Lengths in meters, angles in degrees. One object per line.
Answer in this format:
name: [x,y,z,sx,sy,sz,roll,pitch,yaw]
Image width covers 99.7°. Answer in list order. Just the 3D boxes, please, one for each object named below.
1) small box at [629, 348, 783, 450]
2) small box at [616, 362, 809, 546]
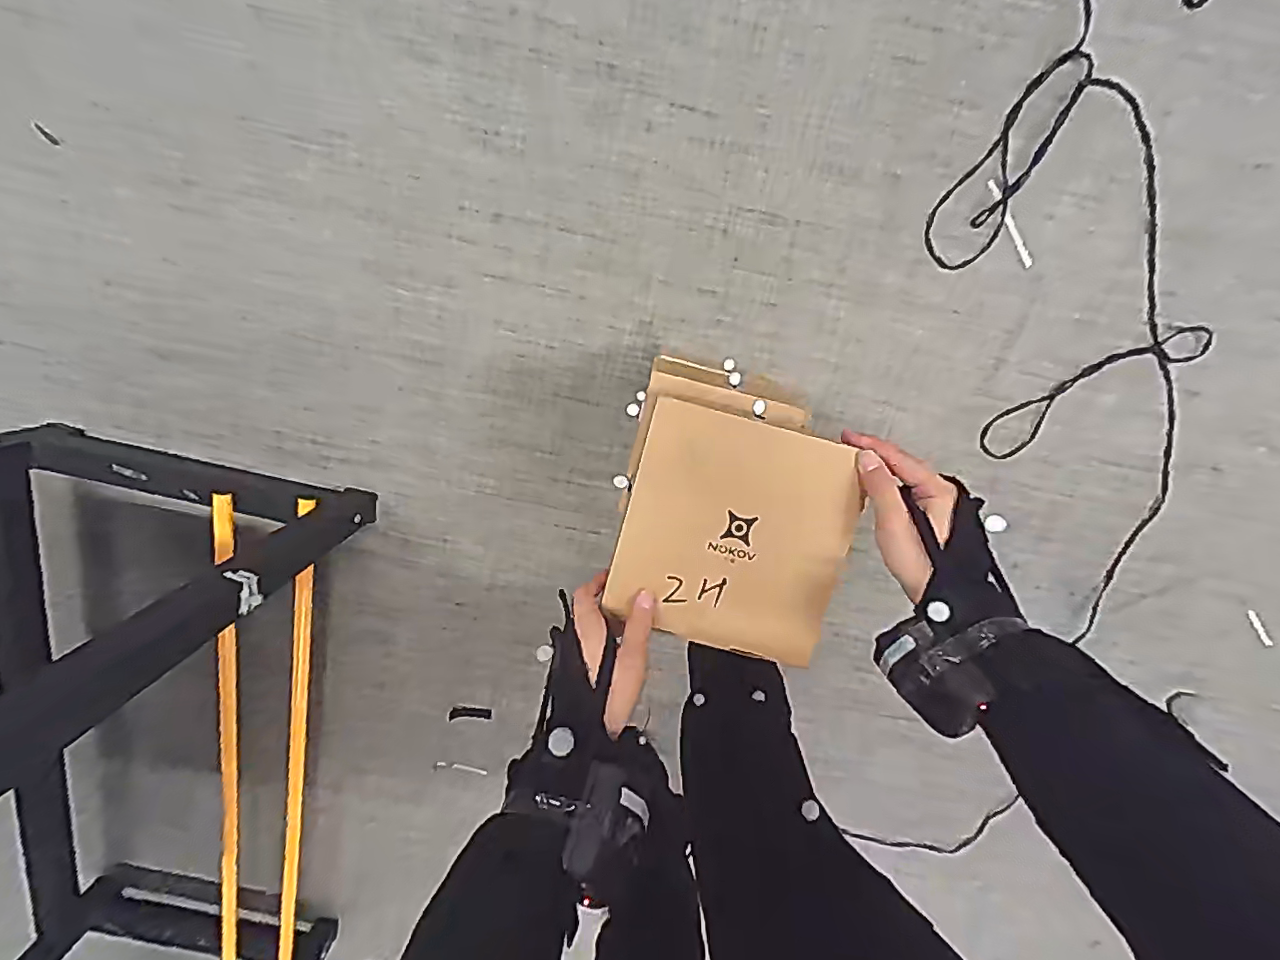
small box: [0.088,-0.095,0.815,0.179,0.176,0.168,15,107,-4]
small box: [0.079,-0.042,0.662,0.179,0.176,0.168,14,107,-1]
